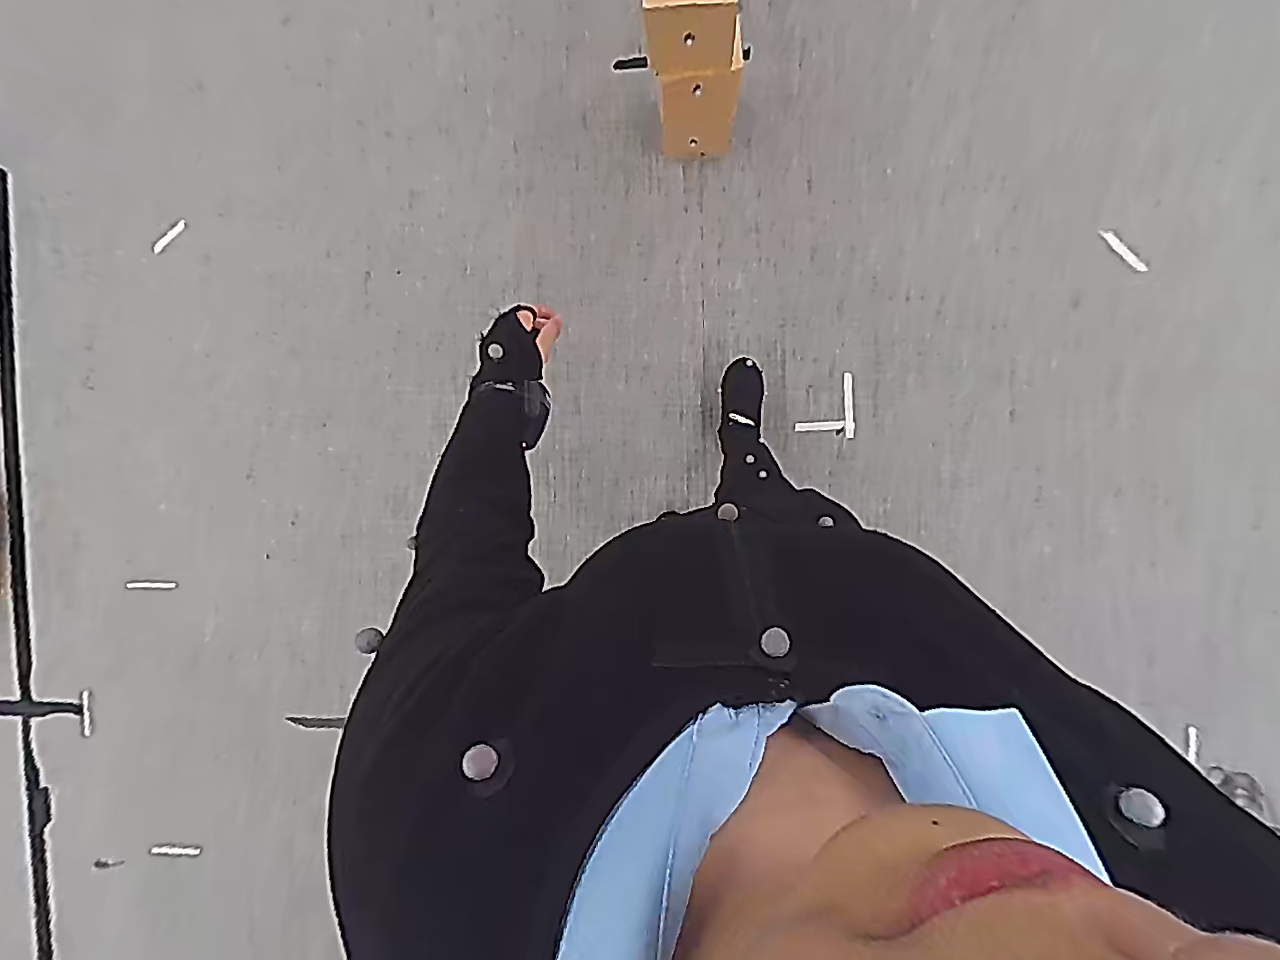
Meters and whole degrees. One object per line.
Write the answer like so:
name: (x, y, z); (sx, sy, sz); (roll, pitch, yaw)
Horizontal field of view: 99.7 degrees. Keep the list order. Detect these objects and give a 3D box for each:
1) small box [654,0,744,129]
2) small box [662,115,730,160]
small box: (0.128, -0.925, 1.208); (0.179, 0.176, 0.168); (-6, 92, 5)
small box: (0.145, -0.941, 1.369); (0.168, 0.176, 0.179); (2, 92, 3)
